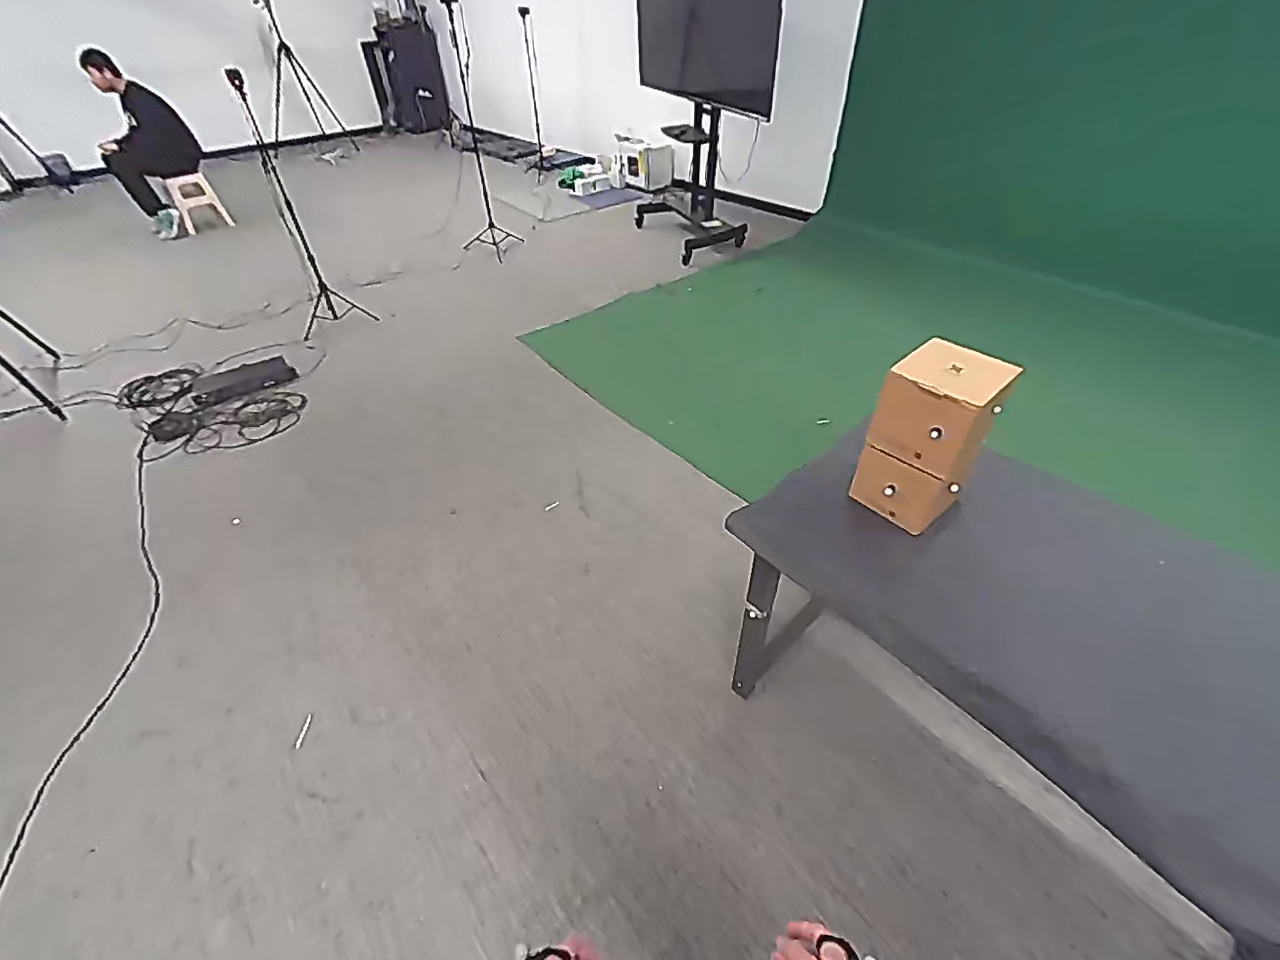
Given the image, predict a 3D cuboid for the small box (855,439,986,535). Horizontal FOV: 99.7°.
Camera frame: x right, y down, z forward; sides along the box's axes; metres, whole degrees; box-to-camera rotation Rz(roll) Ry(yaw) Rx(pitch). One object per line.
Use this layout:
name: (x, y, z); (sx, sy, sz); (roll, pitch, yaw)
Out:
small box: (0.580, -0.014, 1.144); (0.179, 0.176, 0.168); (-30, 50, -27)

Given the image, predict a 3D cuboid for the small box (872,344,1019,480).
small box: (0.567, -0.128, 1.027); (0.179, 0.176, 0.168); (-31, 51, -30)
